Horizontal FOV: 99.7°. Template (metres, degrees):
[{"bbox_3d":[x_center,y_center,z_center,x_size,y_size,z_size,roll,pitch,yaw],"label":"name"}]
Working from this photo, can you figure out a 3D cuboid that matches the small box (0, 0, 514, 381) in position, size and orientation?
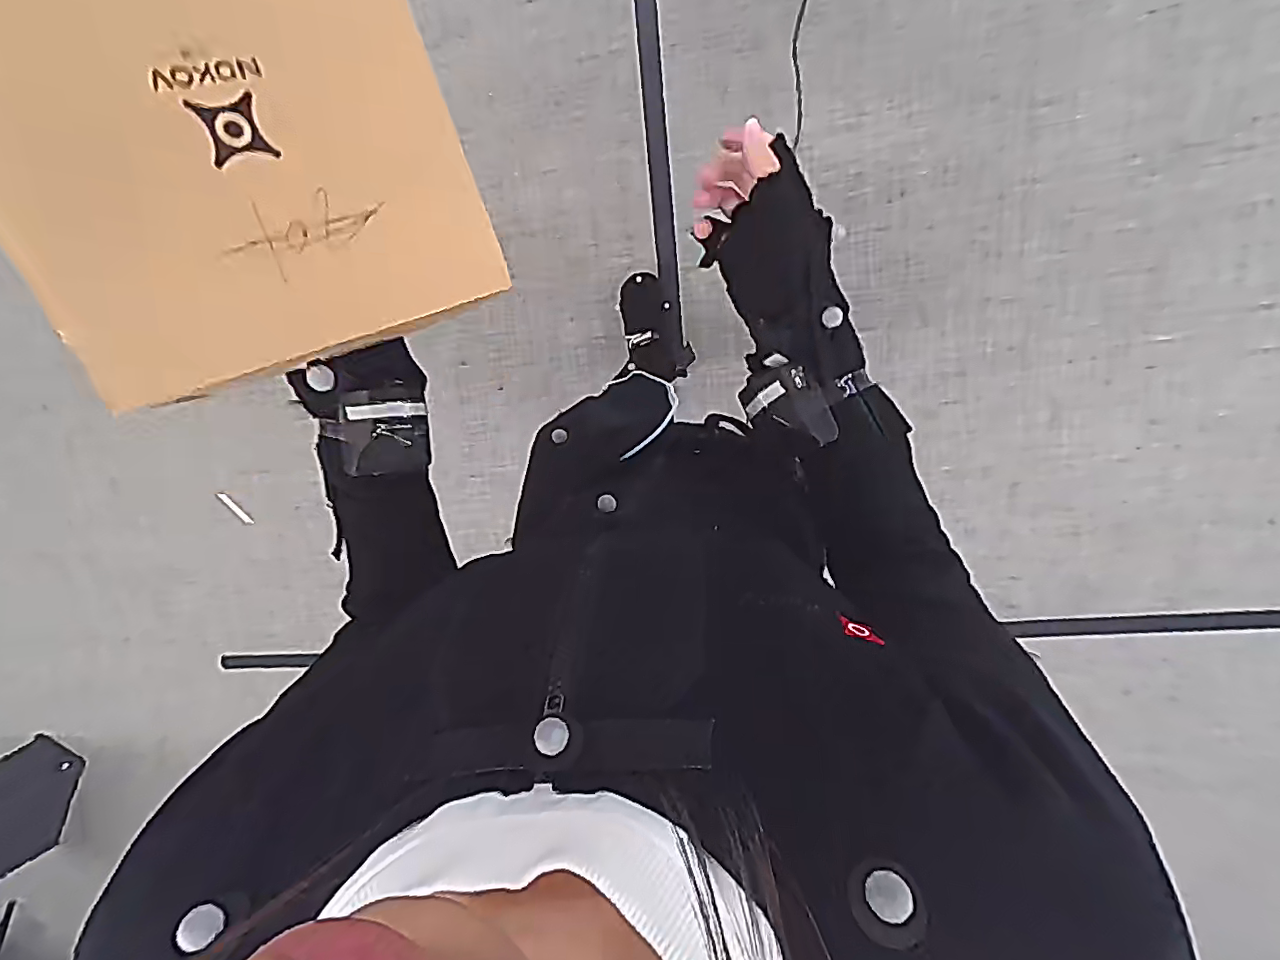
[{"bbox_3d":[-0.193,-0.159,0.282,0.168,0.176,0.179,-27,112,-22],"label":"small box"}]
